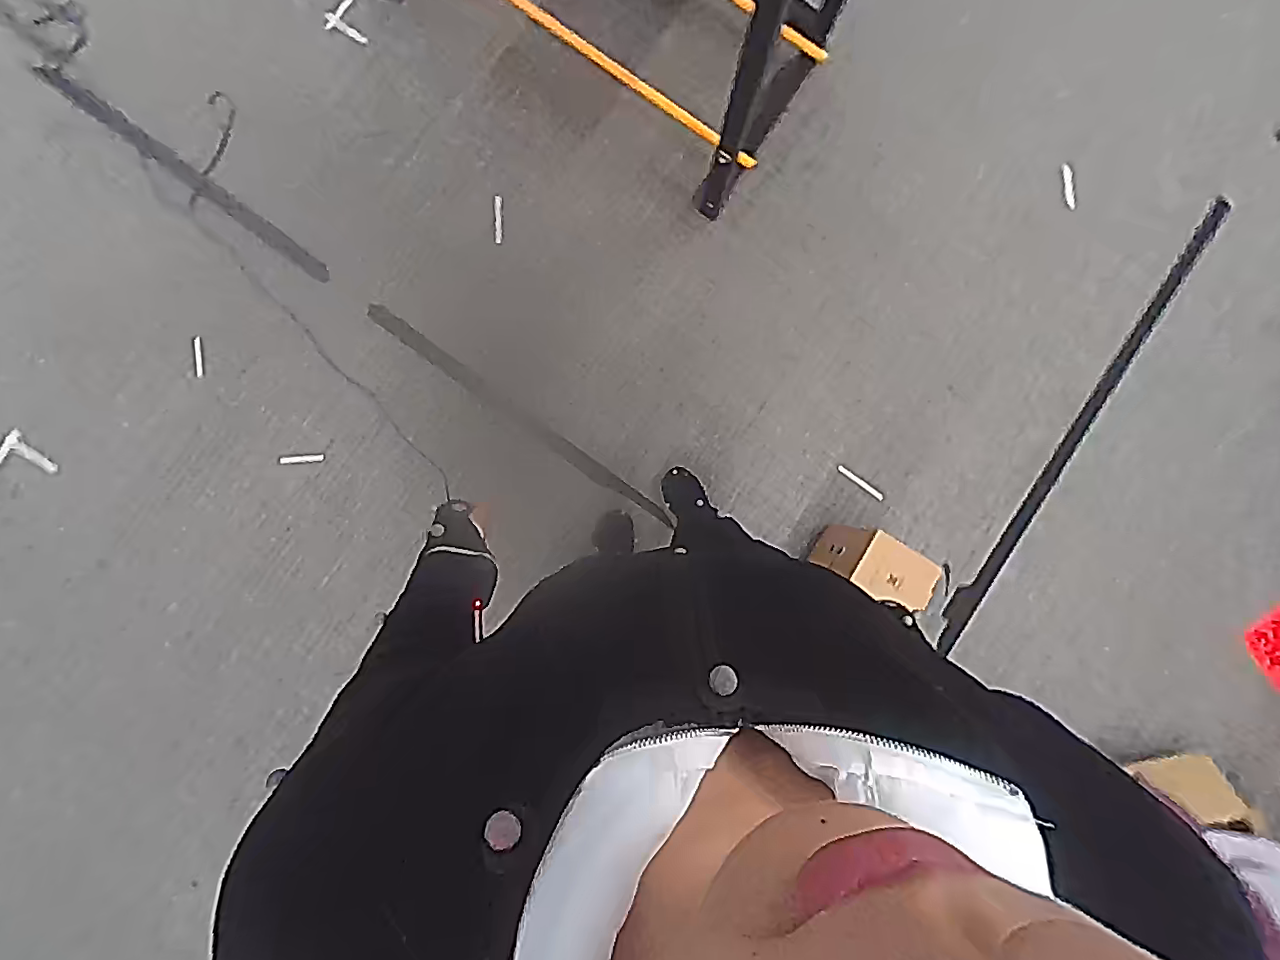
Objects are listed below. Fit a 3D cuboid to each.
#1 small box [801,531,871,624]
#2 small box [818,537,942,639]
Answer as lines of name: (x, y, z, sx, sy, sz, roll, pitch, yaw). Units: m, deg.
small box: (0.556, 0.249, 1.436, 0.168, 0.176, 0.179, 35, 88, 1)
small box: (0.555, 0.244, 1.273, 0.179, 0.176, 0.168, 32, 85, 1)
